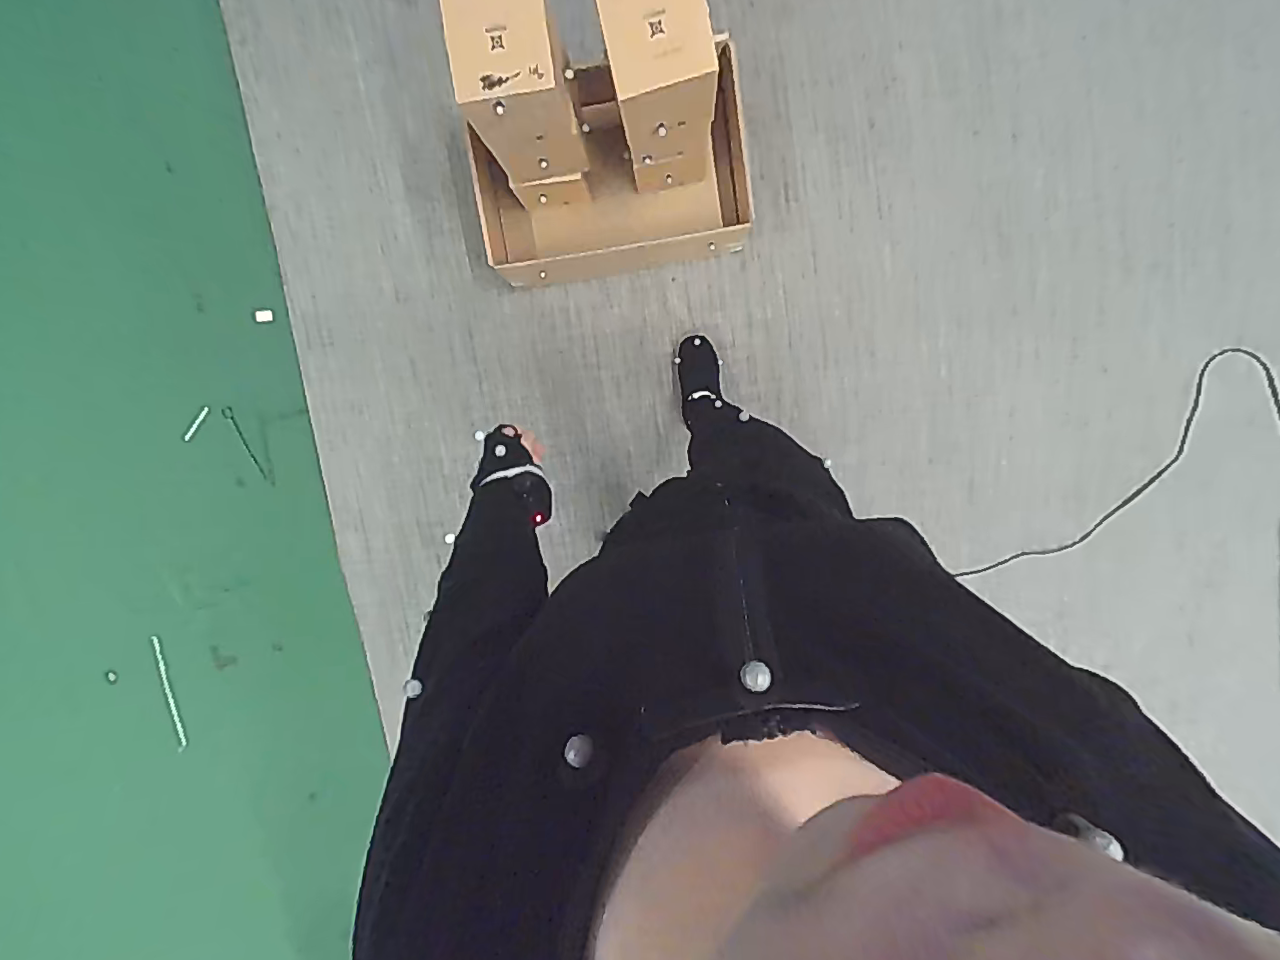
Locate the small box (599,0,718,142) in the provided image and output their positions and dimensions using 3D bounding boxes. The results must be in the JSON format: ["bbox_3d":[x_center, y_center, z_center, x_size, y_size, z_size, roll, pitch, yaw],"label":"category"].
[{"bbox_3d":[0.032,-0.716,0.915,0.168,0.176,0.179,-12,99,7],"label":"small box"}]

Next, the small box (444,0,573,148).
[{"bbox_3d":[-0.218,-0.711,0.931,0.168,0.176,0.179,-5,97,5],"label":"small box"}]

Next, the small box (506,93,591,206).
[{"bbox_3d":[-0.210,-0.755,1.257,0.168,0.176,0.179,-4,98,3],"label":"small box"}]

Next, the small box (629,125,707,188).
[{"bbox_3d":[0.060,-0.790,1.233,0.168,0.176,0.179,-8,98,5],"label":"small box"}]
